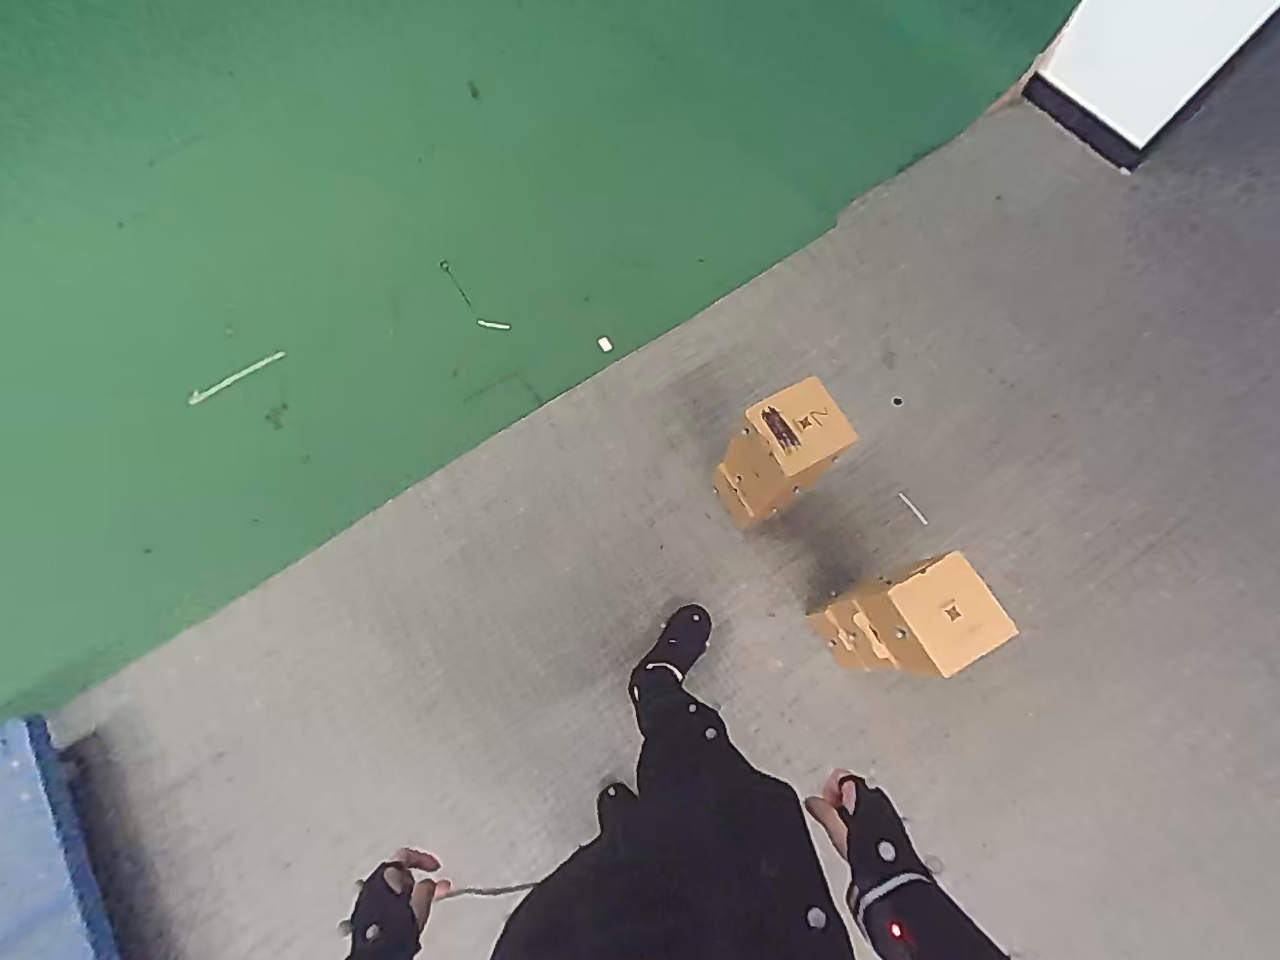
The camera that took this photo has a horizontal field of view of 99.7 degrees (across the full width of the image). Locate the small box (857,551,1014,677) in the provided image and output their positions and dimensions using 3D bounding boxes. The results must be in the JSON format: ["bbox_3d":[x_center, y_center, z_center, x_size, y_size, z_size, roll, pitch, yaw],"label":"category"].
[{"bbox_3d":[0.557,0.264,1.051,0.168,0.176,0.179,-27,74,-6],"label":"small box"}]

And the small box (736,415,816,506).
[{"bbox_3d":[0.329,-0.045,1.338,0.168,0.176,0.179,2,72,4],"label":"small box"}]

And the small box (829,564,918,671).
[{"bbox_3d":[0.558,0.308,1.208,0.179,0.176,0.168,-26,73,-7],"label":"small box"}]

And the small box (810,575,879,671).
[{"bbox_3d":[0.553,0.364,1.363,0.179,0.176,0.168,-31,74,-8],"label":"small box"}]

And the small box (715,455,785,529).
[{"bbox_3d":[0.318,0.014,1.482,0.179,0.176,0.168,-28,74,-8],"label":"small box"}]
